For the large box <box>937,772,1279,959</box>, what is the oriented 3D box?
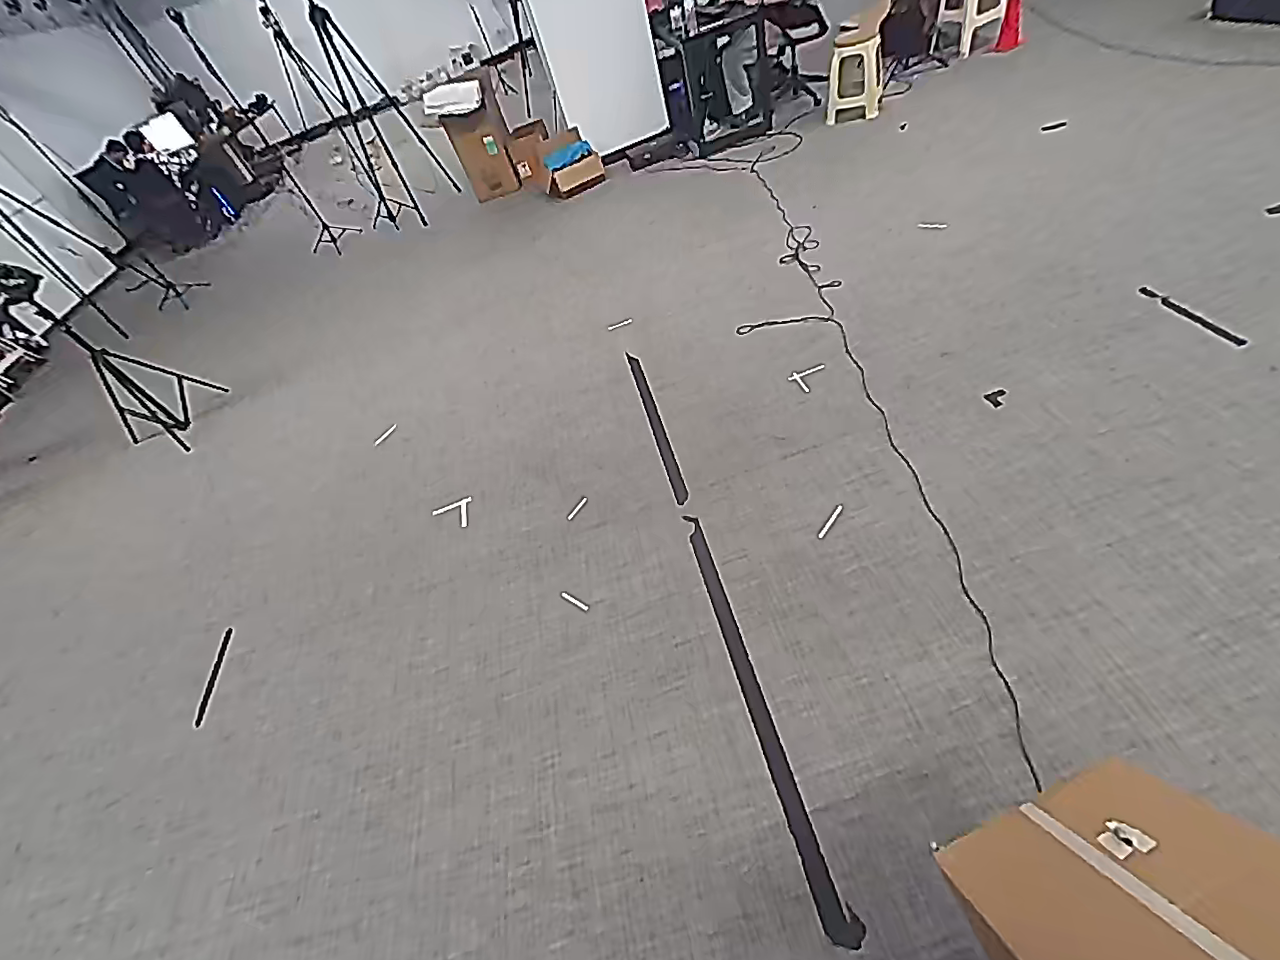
[{"bbox_3d":[0.639,0.614,0.597,0.320,0.408,0.320,-26,83,-1],"label":"large box"}]
